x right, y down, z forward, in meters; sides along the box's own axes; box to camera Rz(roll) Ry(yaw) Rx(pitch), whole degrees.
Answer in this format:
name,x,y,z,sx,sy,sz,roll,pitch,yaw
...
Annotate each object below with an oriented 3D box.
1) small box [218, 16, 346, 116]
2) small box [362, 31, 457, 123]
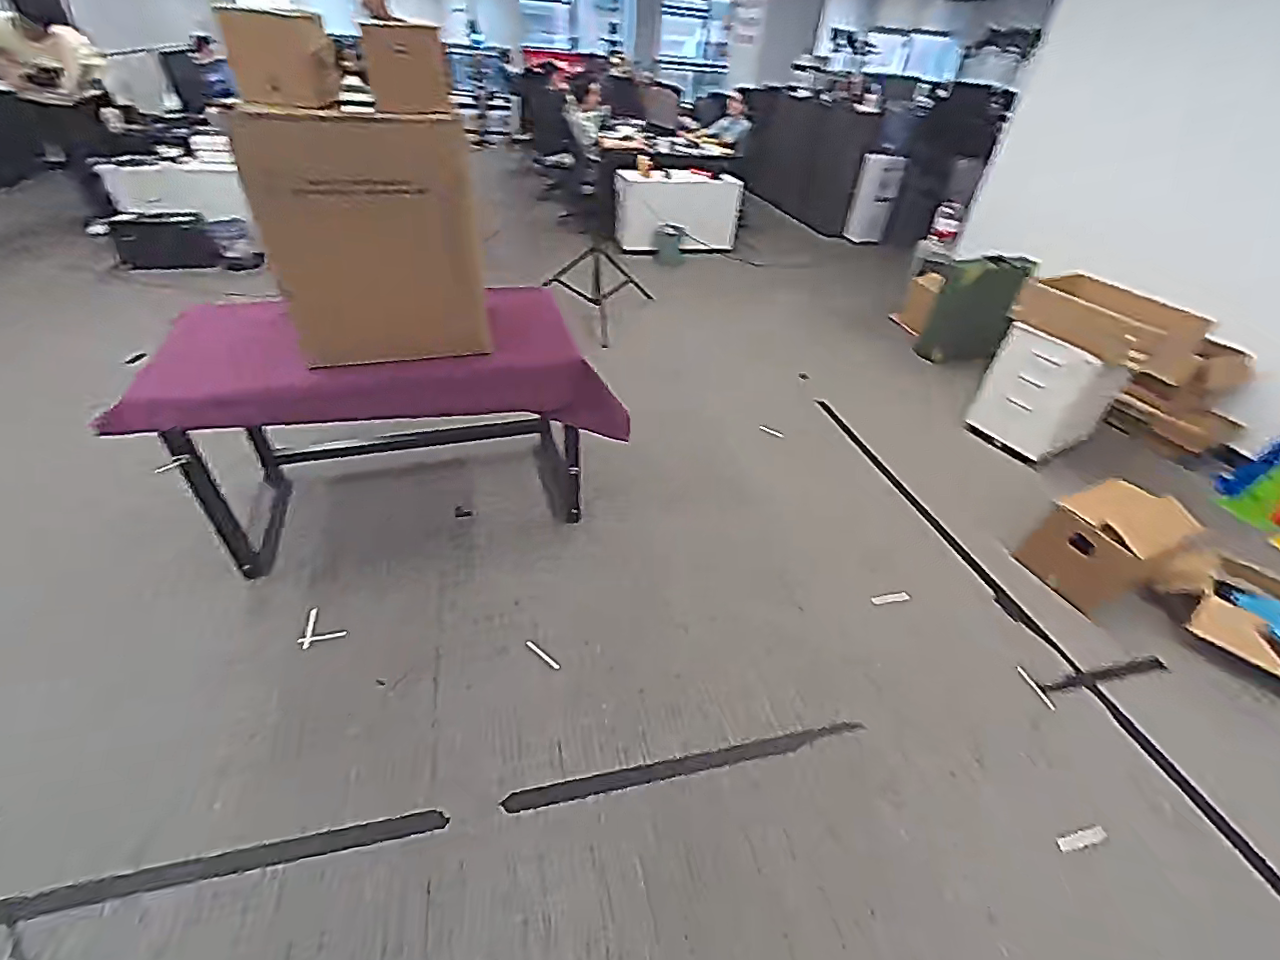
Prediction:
name,x,y,z,sx,sy,sz,roll,pitch,yaw
small box,-0.821,-0.965,1.265,0.179,0.176,0.168,2,40,-5
small box,-0.555,-0.978,1.314,0.179,0.176,0.168,-10,42,-16
